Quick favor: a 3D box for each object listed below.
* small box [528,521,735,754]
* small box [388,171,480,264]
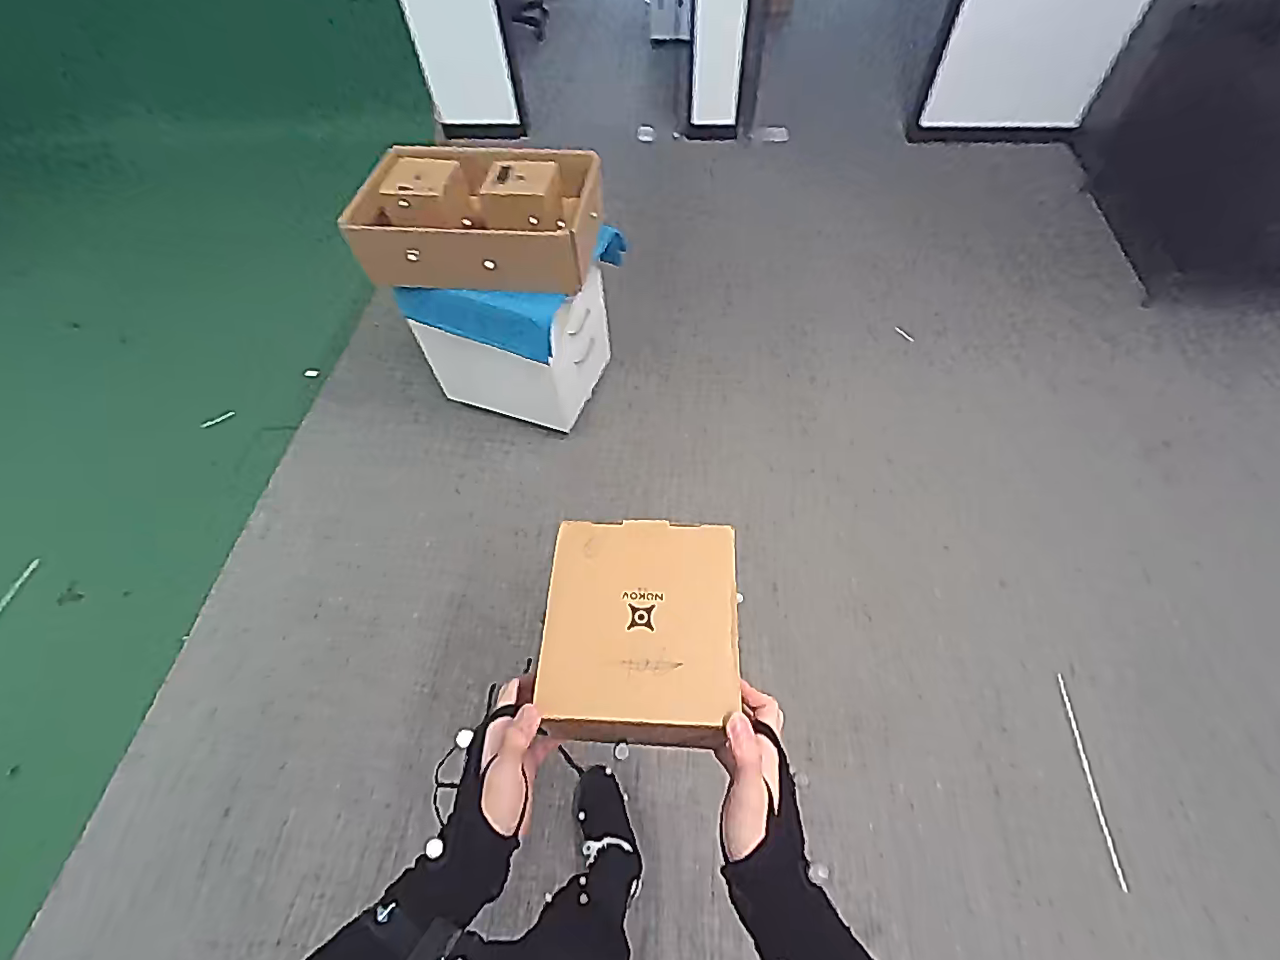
[{"bbox_3d":[0.000,0.158,0.531,0.168,0.176,0.179,1,57,4],"label":"small box"},{"bbox_3d":[-0.565,-0.734,1.513,0.168,0.176,0.179,5,55,6],"label":"small box"}]
